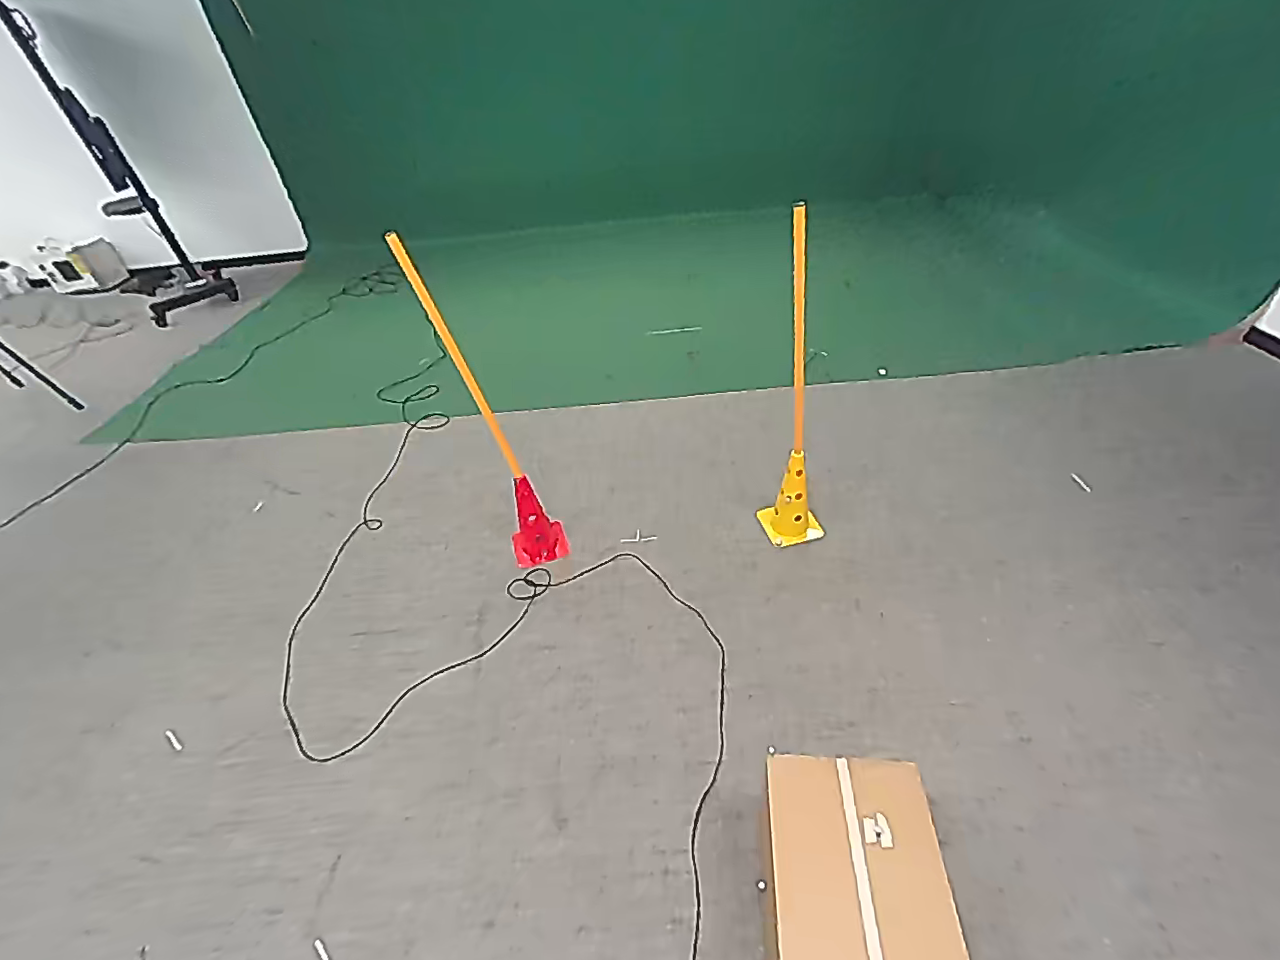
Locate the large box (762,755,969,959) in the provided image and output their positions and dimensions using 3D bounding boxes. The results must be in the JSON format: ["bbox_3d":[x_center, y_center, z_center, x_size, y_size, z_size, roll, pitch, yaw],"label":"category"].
[{"bbox_3d":[0.421,0.841,1.101,0.320,0.320,0.408,0,39,8],"label":"large box"}]
